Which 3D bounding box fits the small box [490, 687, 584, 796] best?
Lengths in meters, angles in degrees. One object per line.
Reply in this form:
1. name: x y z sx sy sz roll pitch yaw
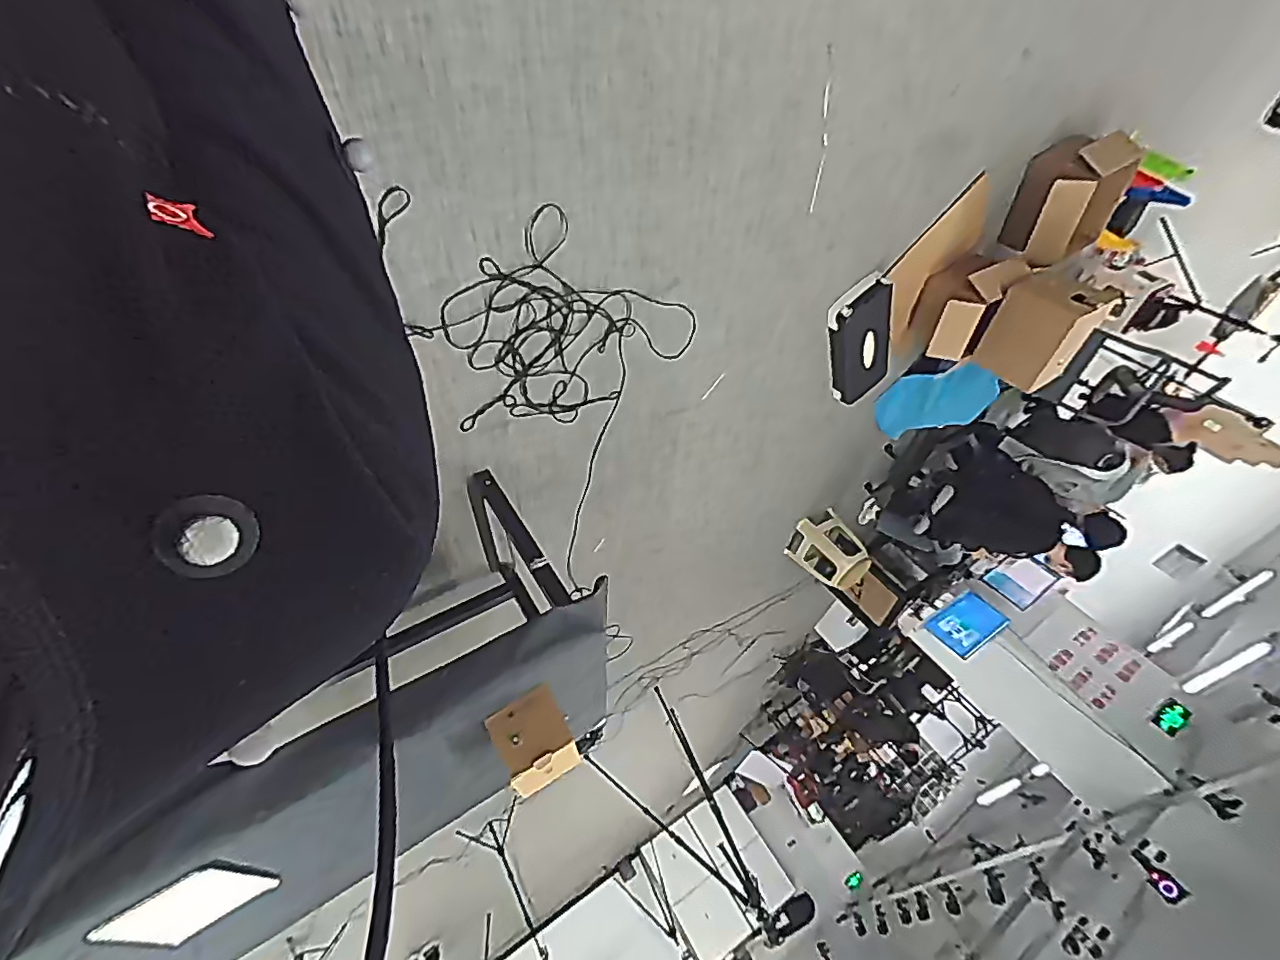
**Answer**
1. small box: -0.259 0.651 1.359 0.168 0.176 0.179 -26 144 -19
